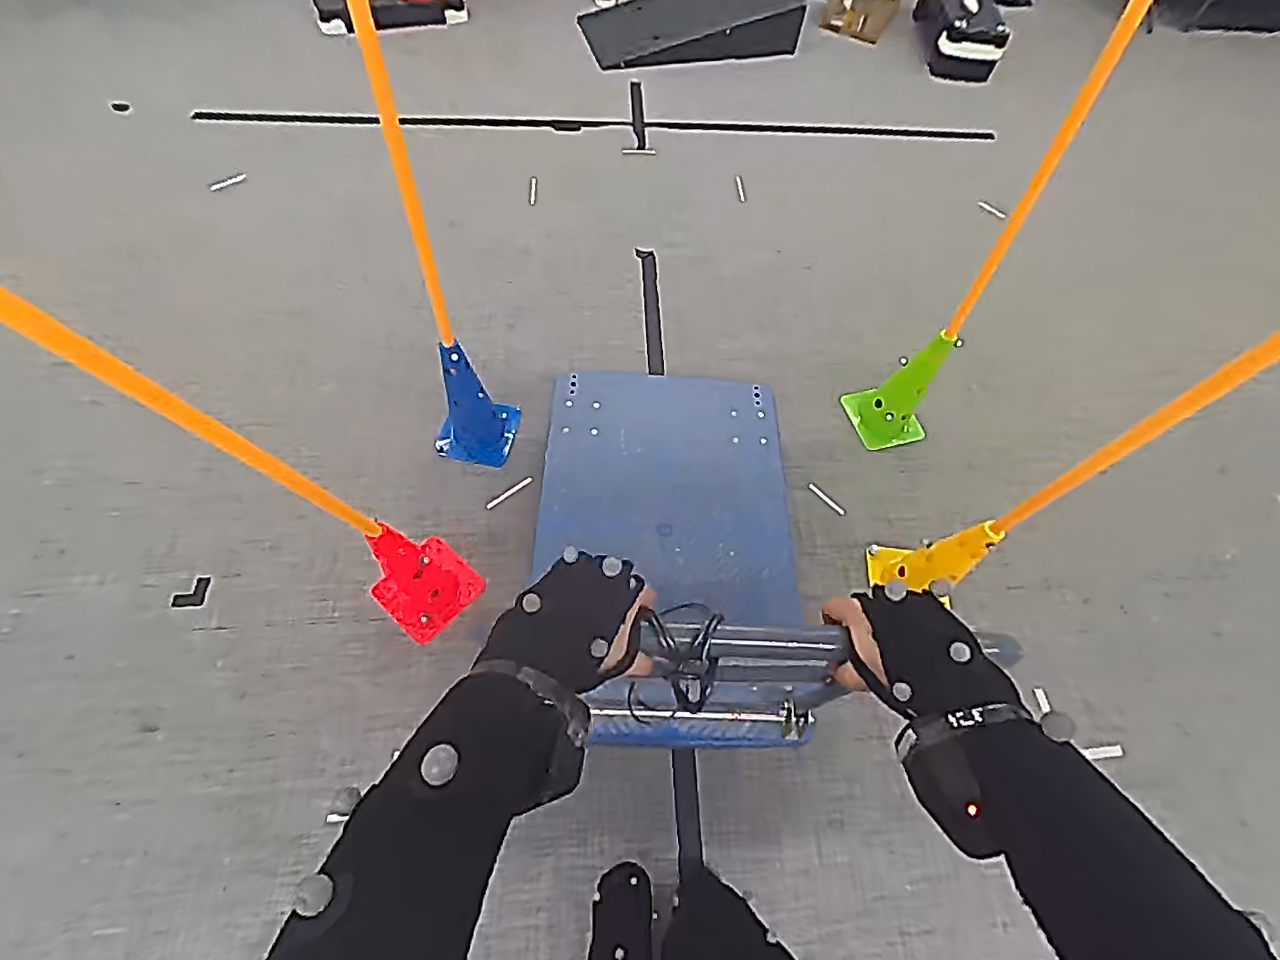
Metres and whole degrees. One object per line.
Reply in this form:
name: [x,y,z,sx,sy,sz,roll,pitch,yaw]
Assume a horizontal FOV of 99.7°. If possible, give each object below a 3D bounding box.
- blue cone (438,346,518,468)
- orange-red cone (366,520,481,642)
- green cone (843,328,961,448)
blue cone: [-0.437,-0.205,1.358,0.193,0.380,0.192,12,62,3]
orange-red cone: [-0.491,0.173,1.131,0.198,0.360,0.199,40,65,16]
green cone: [0.738,-0.272,1.460,0.200,0.368,0.202,-13,64,-11]
